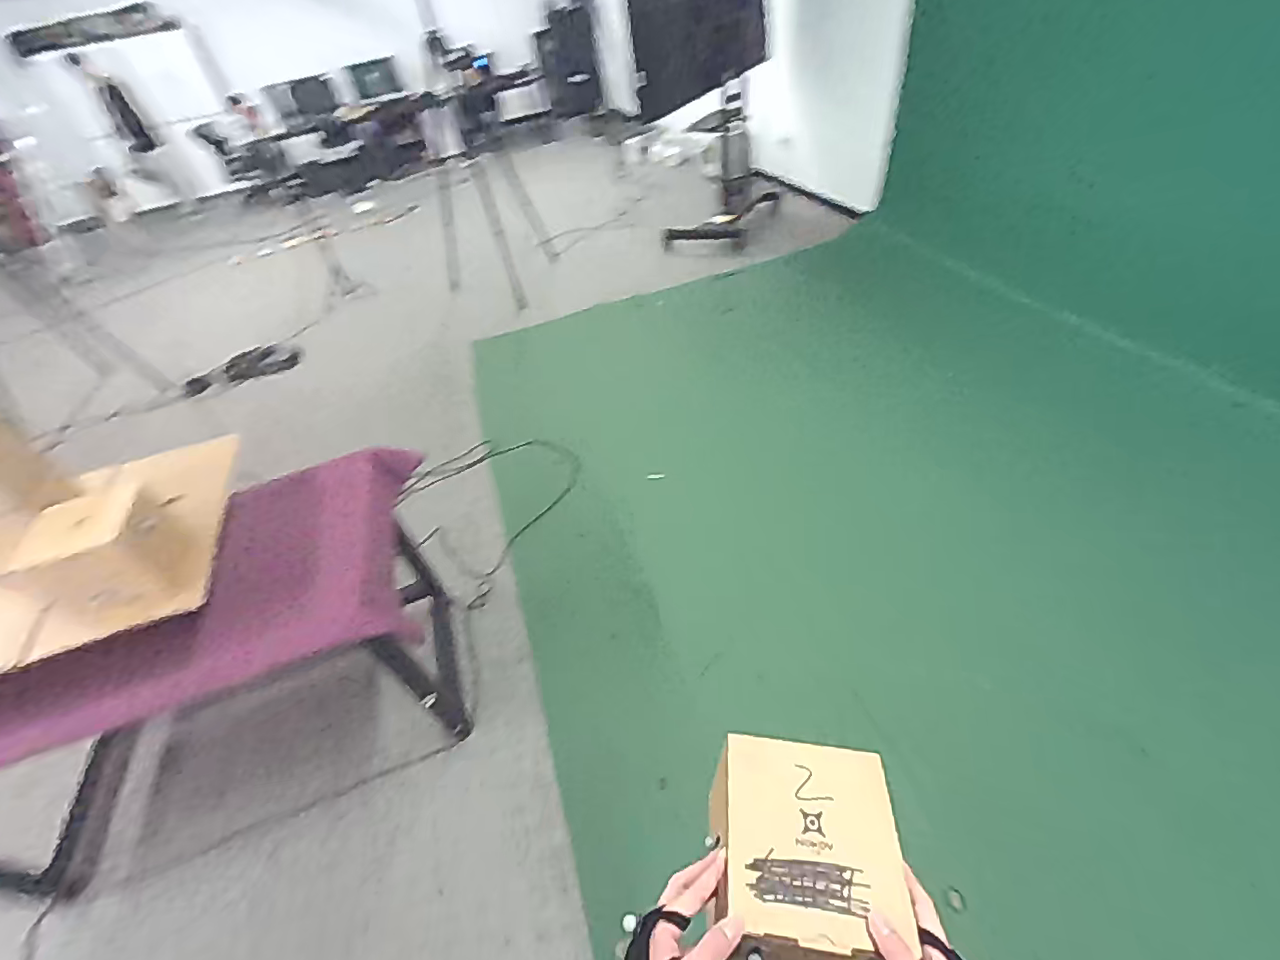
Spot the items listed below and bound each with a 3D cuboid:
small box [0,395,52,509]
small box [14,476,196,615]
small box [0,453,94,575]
[{"bbox_3d":[-1.289,-0.044,1.019,0.168,0.176,0.179,-19,45,-12],"label":"small box"},{"bbox_3d":[-1.011,0.126,1.046,0.168,0.176,0.179,-19,45,-12],"label":"small box"},{"bbox_3d":[-1.273,0.077,1.129,0.168,0.176,0.179,-18,44,-13],"label":"small box"}]
